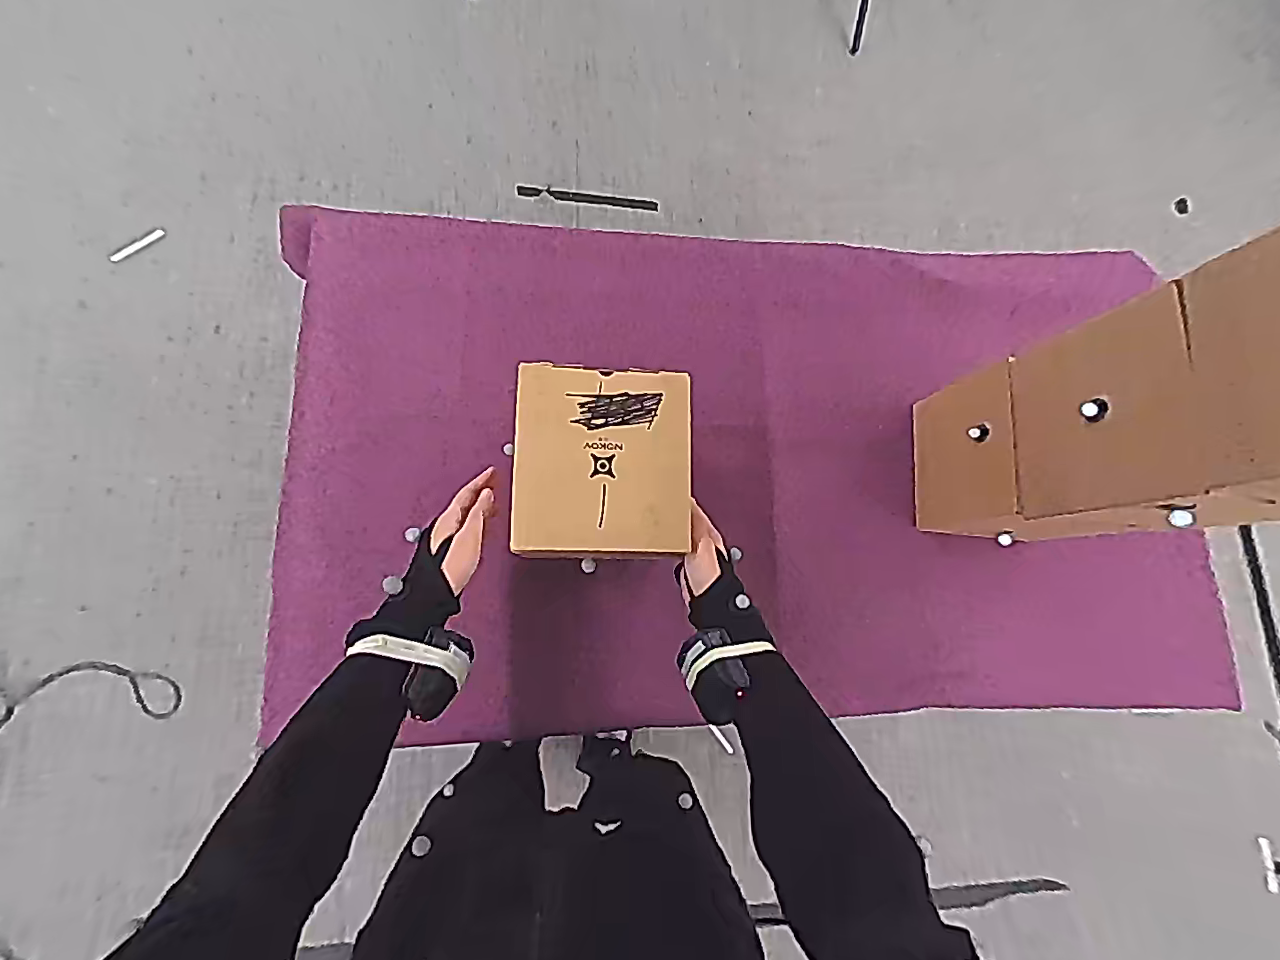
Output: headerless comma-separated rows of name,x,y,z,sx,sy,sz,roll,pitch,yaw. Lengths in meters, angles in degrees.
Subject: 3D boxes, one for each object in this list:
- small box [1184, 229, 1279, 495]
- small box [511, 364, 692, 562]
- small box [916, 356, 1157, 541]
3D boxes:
small box,0.500,-0.079,0.333,0.168,0.176,0.179,8,77,-8
small box,-0.044,-0.005,0.575,0.168,0.176,0.179,2,80,-8
small box,0.458,-0.026,0.653,0.168,0.176,0.179,6,79,-6
